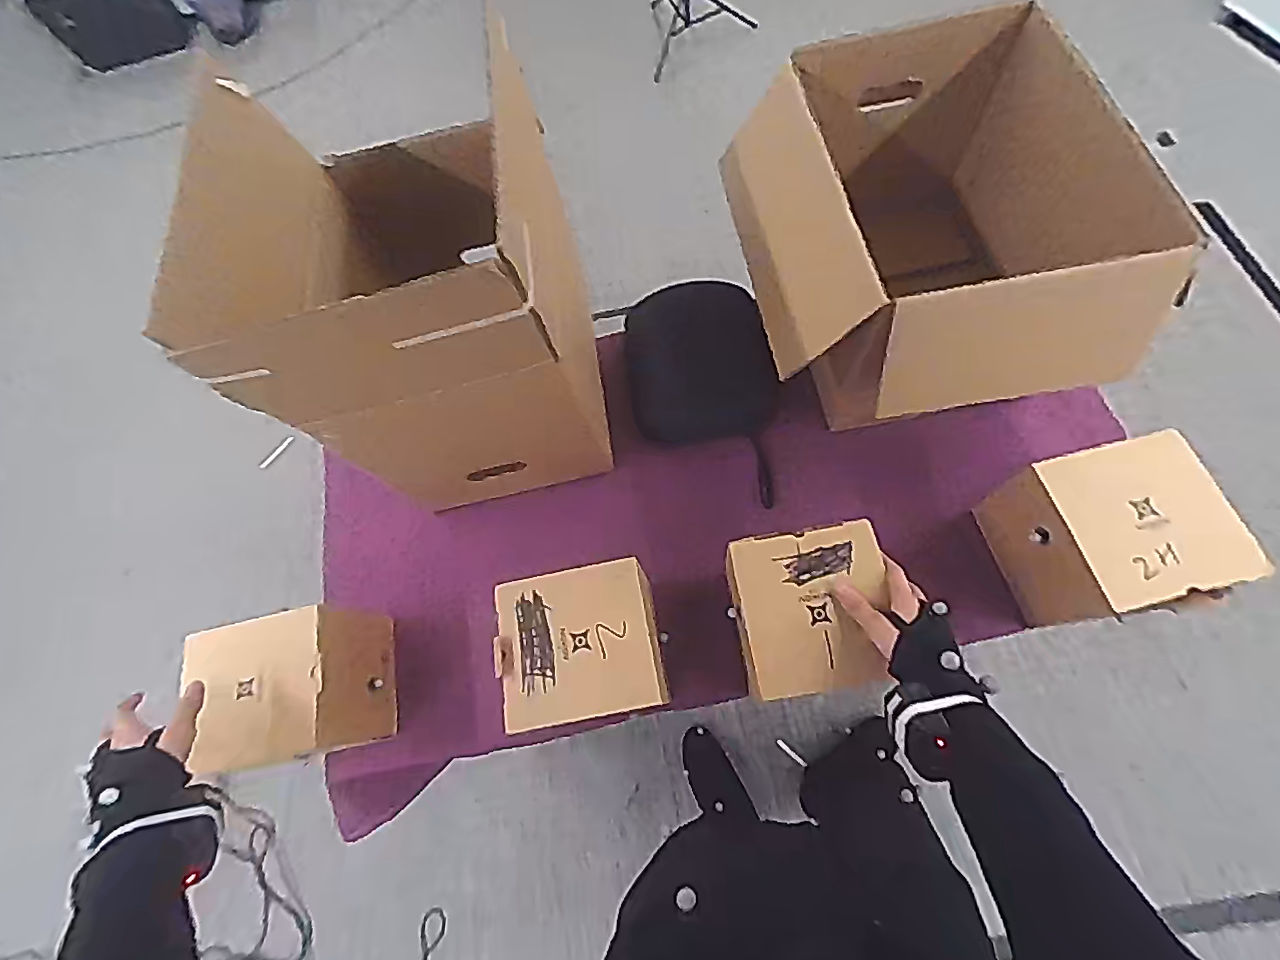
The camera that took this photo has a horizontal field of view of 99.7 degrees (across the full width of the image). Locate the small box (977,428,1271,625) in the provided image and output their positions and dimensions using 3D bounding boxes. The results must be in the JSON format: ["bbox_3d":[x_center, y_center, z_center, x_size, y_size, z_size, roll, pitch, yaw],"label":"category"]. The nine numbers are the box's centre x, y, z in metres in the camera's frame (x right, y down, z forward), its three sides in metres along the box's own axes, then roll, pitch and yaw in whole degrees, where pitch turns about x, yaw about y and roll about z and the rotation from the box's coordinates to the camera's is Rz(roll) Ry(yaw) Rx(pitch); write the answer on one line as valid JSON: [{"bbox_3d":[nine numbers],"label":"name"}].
[{"bbox_3d":[0.553,0.065,0.655,0.168,0.176,0.179,-15,68,3],"label":"small box"}]

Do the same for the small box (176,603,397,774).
[{"bbox_3d":[-0.447,0.273,0.712,0.179,0.176,0.168,-13,68,1],"label":"small box"}]
